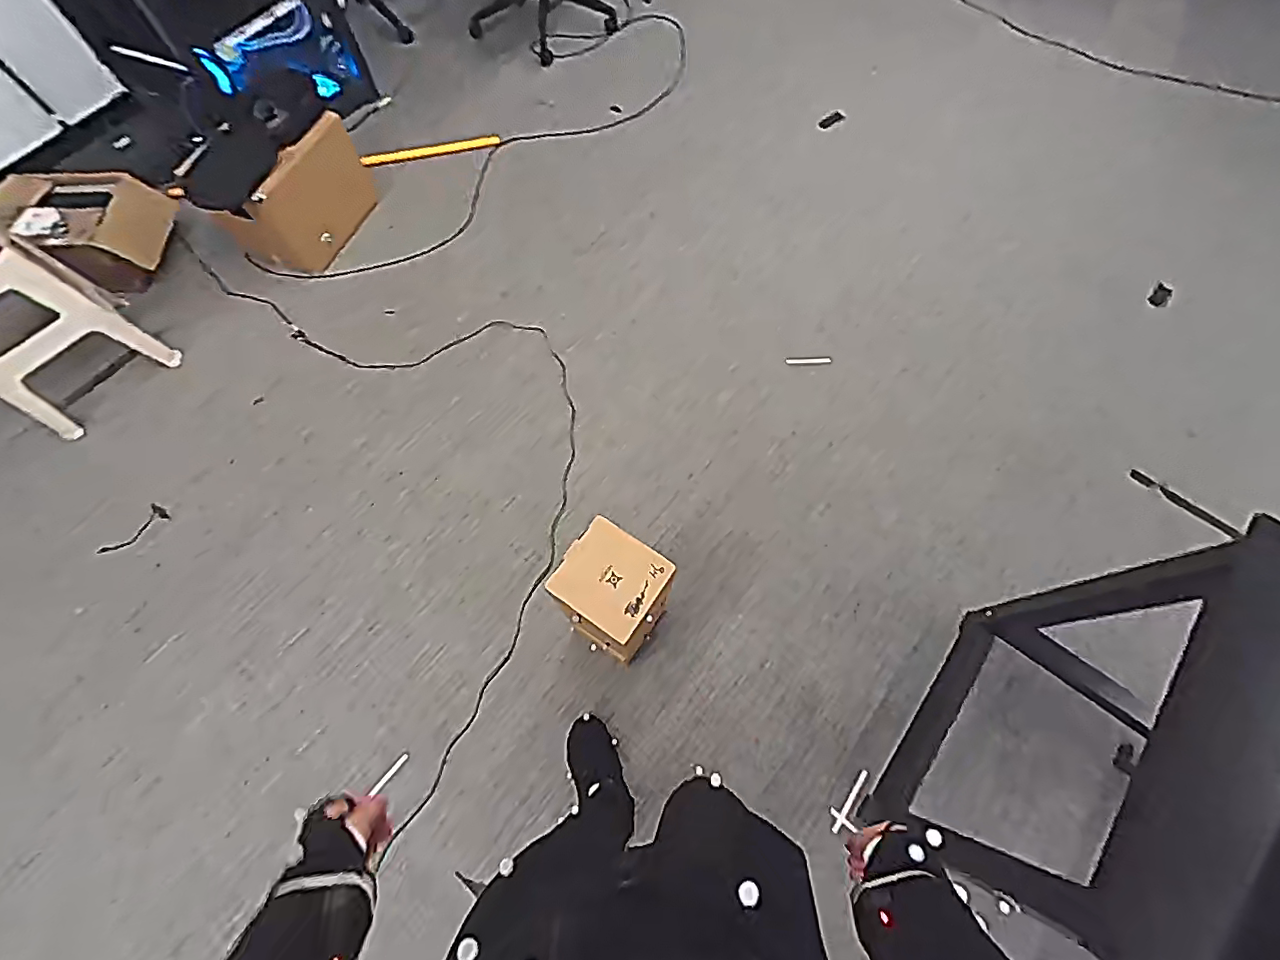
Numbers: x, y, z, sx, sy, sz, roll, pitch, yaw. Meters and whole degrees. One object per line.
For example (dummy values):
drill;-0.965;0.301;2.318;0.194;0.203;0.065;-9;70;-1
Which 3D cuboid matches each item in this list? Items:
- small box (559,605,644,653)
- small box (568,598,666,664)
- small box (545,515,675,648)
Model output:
small box;-0.054;0.259;1.178;0.168;0.176;0.179;29;69;10
small box;-0.054;0.328;1.325;0.168;0.176;0.179;32;72;13
small box;-0.053;0.200;1.025;0.179;0.176;0.168;32;71;13
